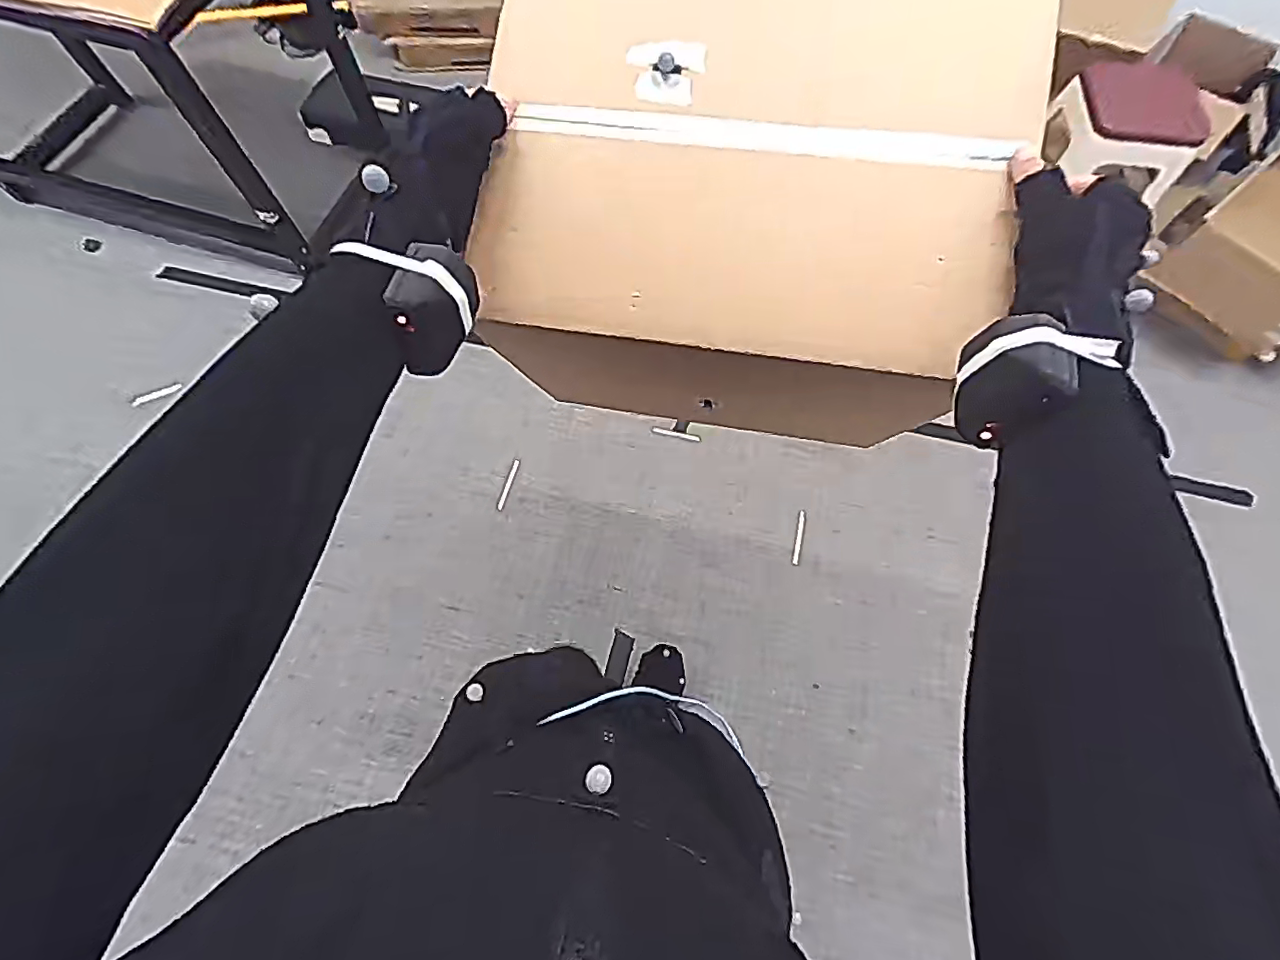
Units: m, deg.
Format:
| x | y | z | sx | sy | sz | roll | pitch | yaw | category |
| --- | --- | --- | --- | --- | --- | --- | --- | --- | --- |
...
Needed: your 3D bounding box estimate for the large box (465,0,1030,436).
| x | y | z | sx | sy | sz | roll | pitch | yaw | category |
| --- | --- | --- | --- | --- | --- | --- | --- | --- | --- |
| 0.094 | -0.238 | 0.565 | 0.408 | 0.320 | 0.320 | 9 | 86 | 8 | large box |
